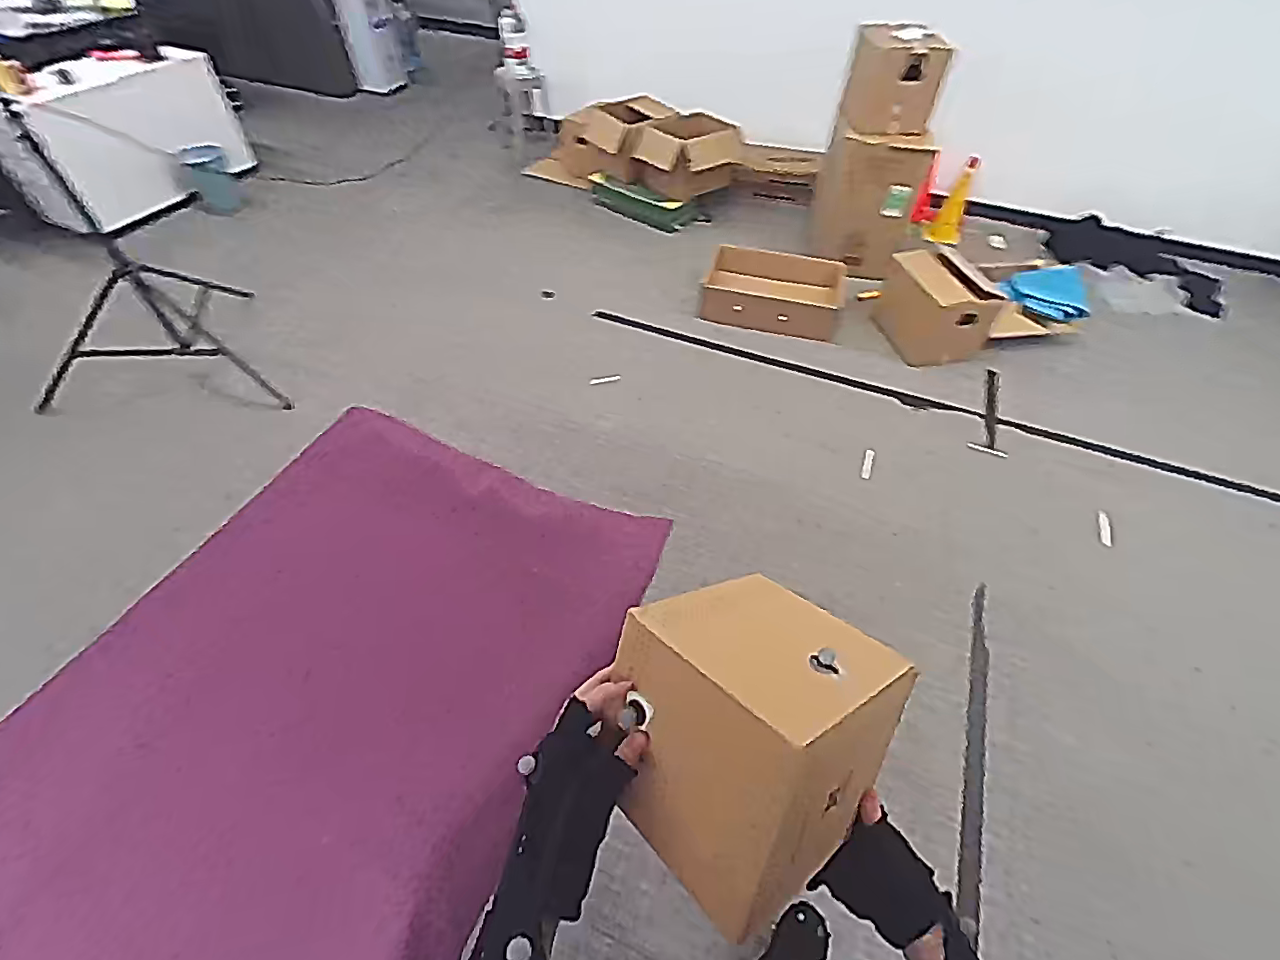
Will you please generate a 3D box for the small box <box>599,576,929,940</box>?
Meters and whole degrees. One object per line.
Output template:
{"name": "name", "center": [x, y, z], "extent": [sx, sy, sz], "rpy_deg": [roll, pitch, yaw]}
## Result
{"name": "small box", "center": [0.093, 0.192, 0.439], "extent": [0.179, 0.168, 0.176], "rpy_deg": [-3, 20, -41]}
